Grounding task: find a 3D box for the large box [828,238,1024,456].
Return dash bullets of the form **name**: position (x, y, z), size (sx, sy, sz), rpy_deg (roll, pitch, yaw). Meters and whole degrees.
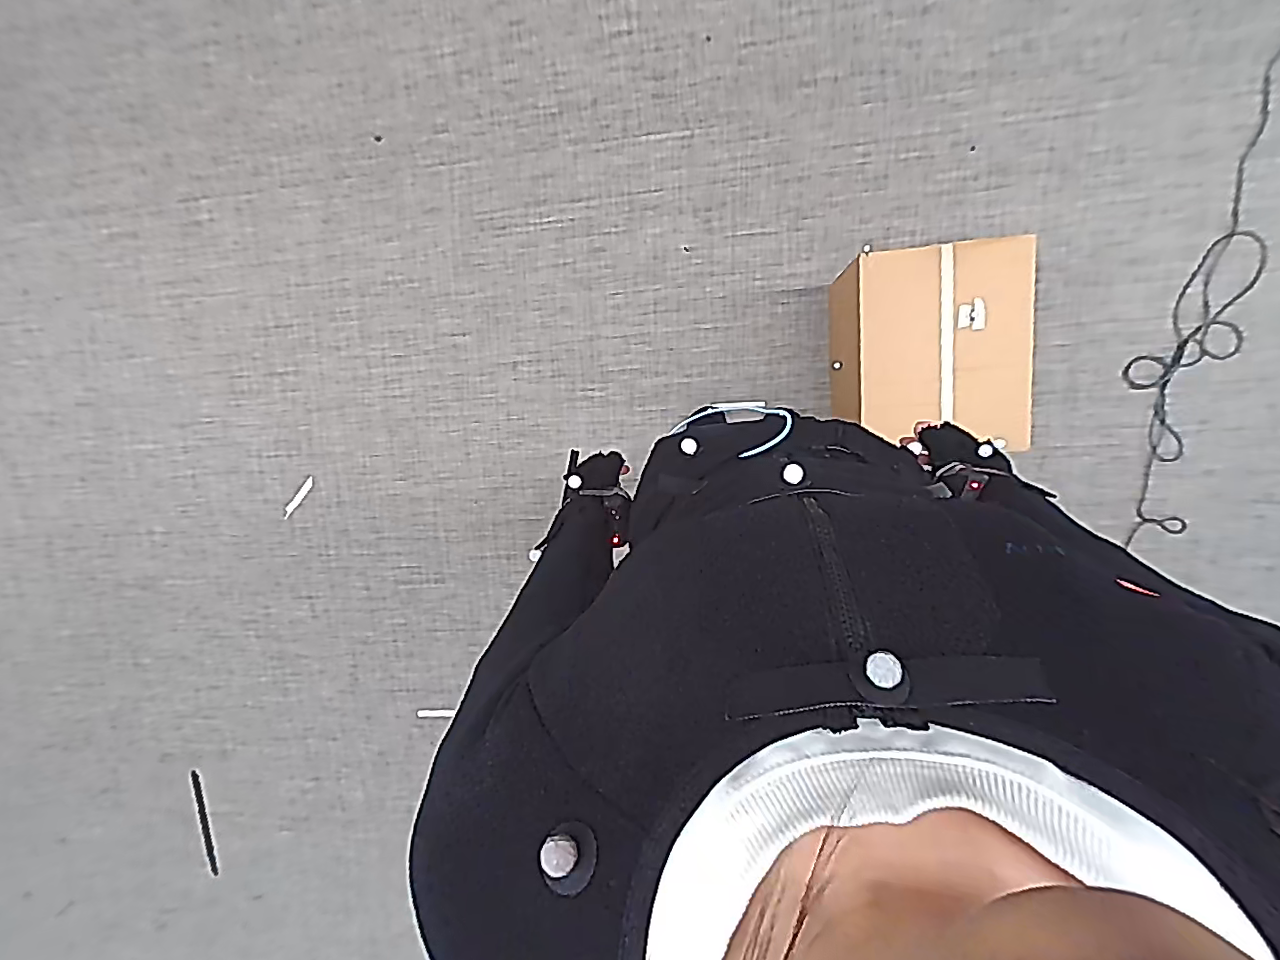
- **large box**: position (0.612, -0.272, 1.214), size (0.320, 0.320, 0.408), rpy_deg (-3, 97, 8)
